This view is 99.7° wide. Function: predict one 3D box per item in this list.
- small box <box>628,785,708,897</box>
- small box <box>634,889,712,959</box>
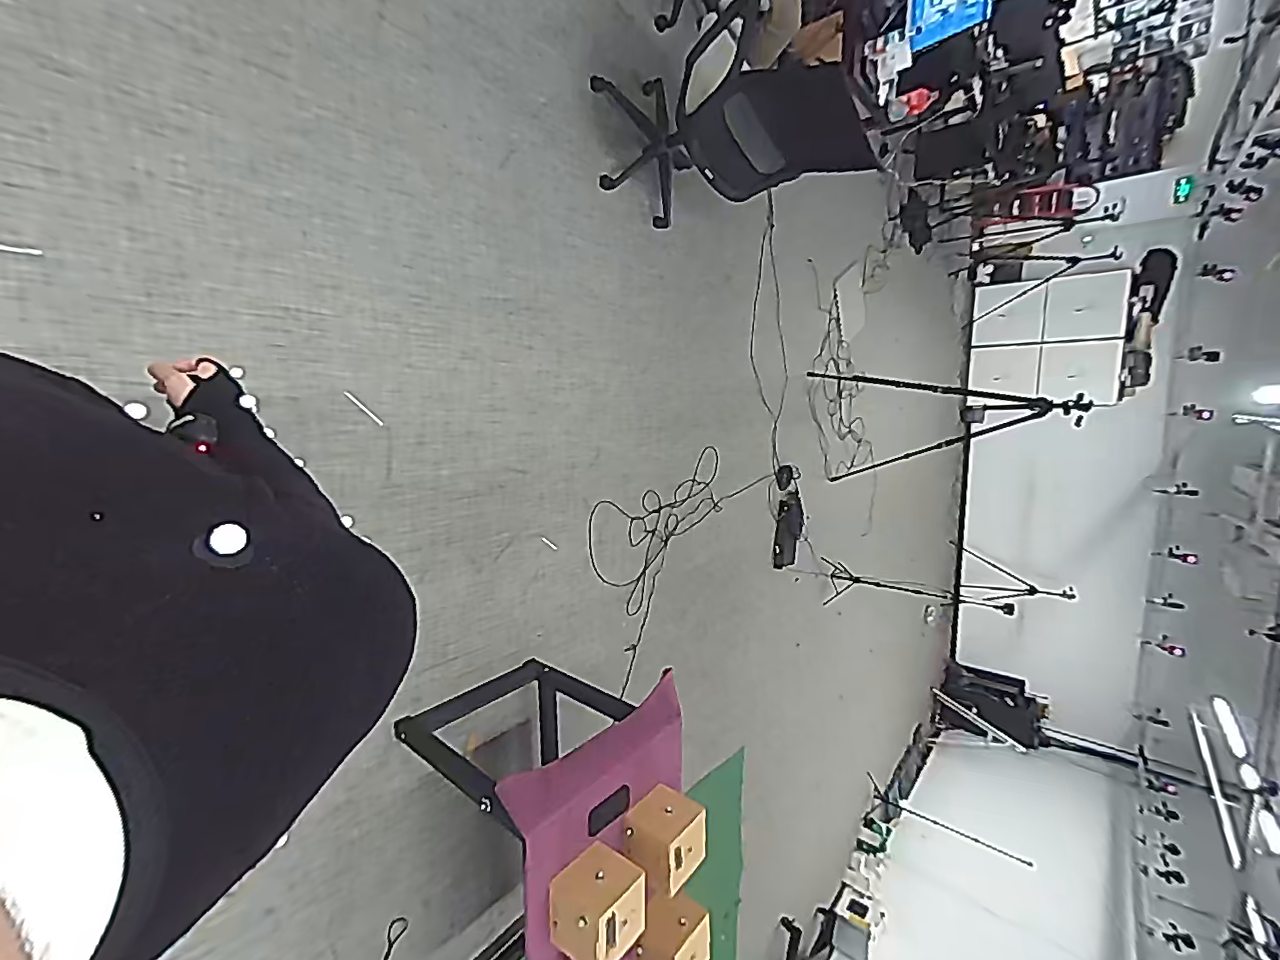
[{"bbox_3d":[0.077,1.027,1.555,0.179,0.176,0.168,-11,103,-49],"label":"small box"},{"bbox_3d":[0.100,1.384,1.628,0.179,0.176,0.168,-11,102,-48],"label":"small box"}]
